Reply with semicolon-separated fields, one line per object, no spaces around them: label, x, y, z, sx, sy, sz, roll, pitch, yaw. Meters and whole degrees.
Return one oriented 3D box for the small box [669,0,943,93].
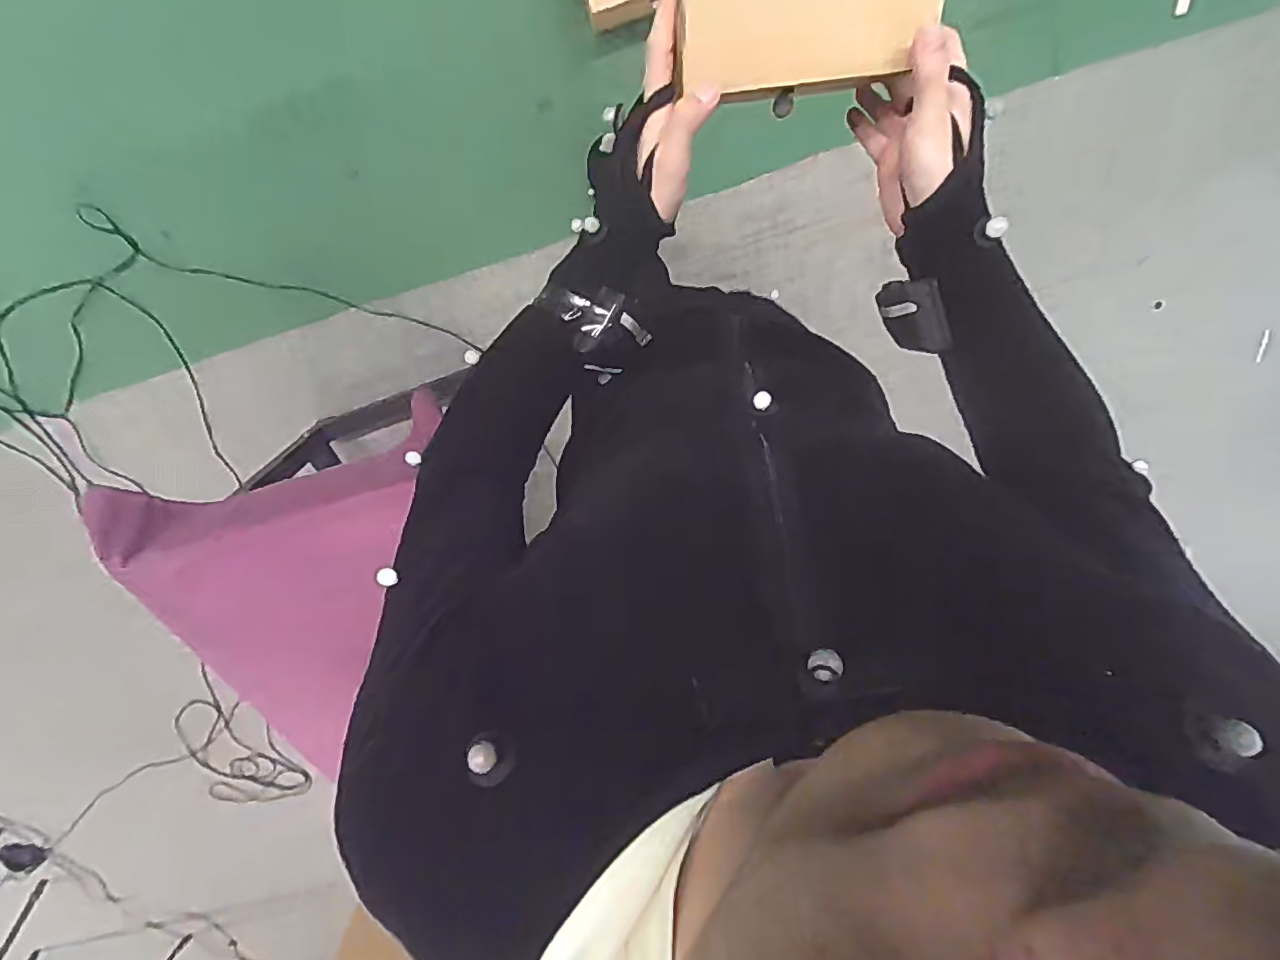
small box;0.111;-0.399;0.402;0.179;0.176;0.168;-4;123;4

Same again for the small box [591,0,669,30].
small box;-0.024;-1.034;1.069;0.179;0.176;0.168;-16;118;6
